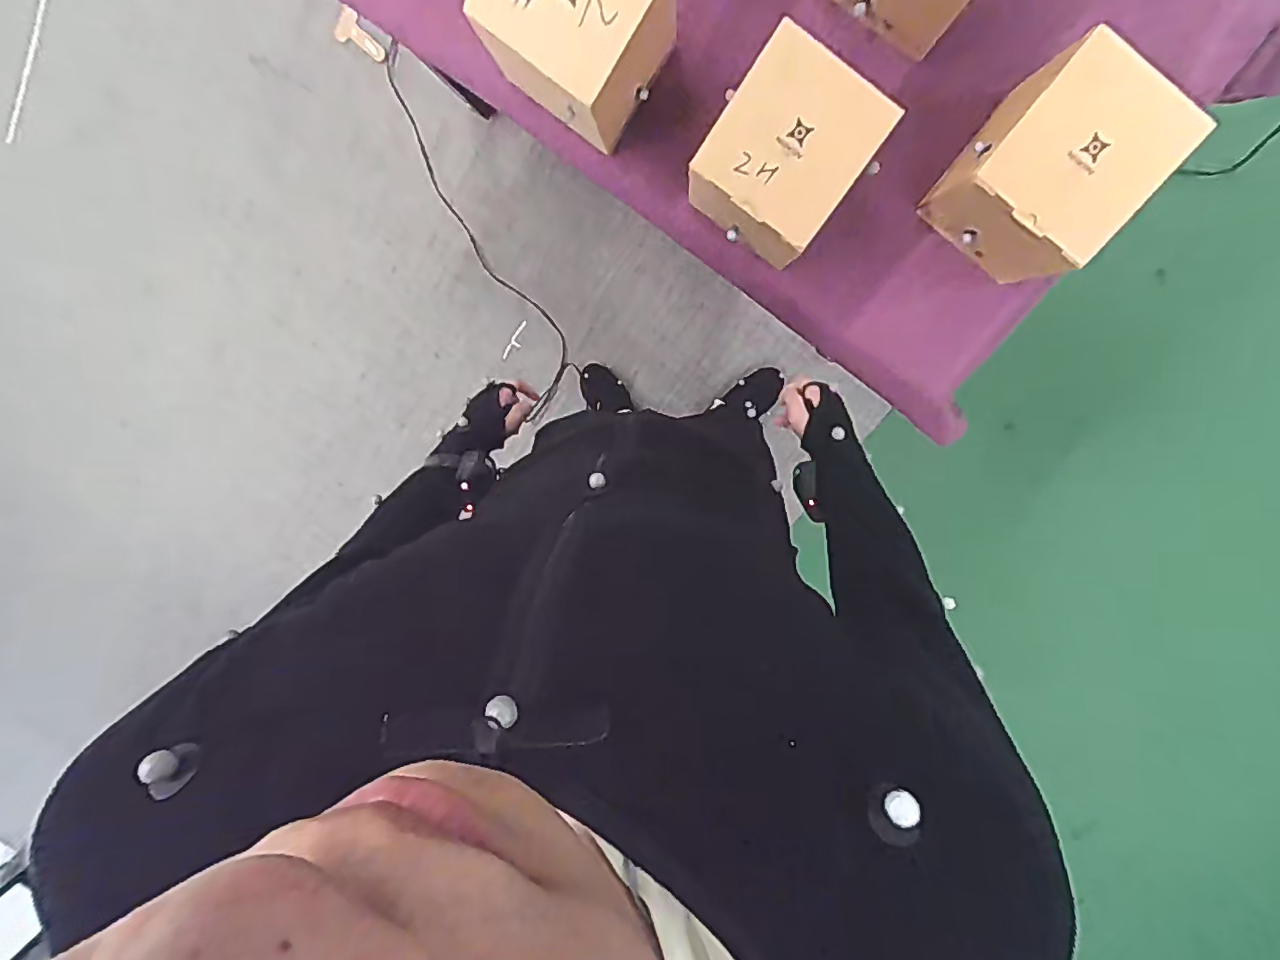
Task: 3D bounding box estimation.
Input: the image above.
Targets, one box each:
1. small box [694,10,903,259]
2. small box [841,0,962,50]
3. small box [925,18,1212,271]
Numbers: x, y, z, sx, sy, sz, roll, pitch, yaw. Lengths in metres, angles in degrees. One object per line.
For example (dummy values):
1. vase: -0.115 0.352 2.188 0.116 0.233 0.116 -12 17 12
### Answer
1. small box: 0.179 -0.406 0.675 0.168 0.176 0.179 36 105 -4
2. small box: 0.330 -0.642 0.596 0.168 0.176 0.179 33 107 -3
3. small box: 0.490 -0.380 0.653 0.168 0.176 0.179 36 107 -4
